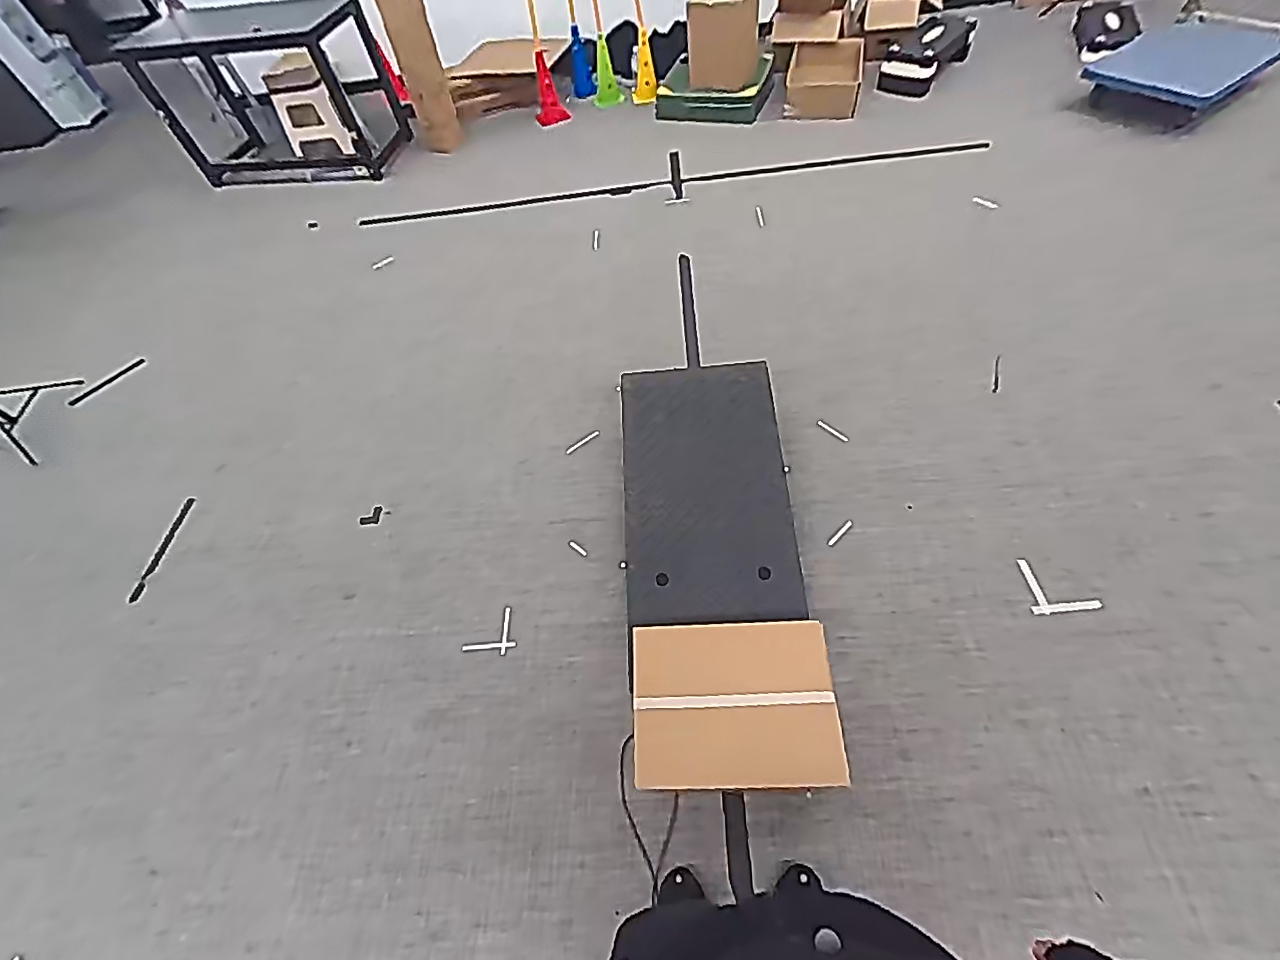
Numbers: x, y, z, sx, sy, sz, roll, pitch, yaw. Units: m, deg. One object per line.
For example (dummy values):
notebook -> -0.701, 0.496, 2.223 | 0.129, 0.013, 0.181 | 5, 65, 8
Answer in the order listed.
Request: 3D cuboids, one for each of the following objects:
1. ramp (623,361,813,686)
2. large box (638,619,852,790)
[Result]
ramp -> 0.209, 0.076, 1.617 | 0.509, 0.206, 0.991 | -6, 55, 3
large box -> 0.215, 0.521, 1.229 | 0.408, 0.320, 0.320 | -4, 58, 5
